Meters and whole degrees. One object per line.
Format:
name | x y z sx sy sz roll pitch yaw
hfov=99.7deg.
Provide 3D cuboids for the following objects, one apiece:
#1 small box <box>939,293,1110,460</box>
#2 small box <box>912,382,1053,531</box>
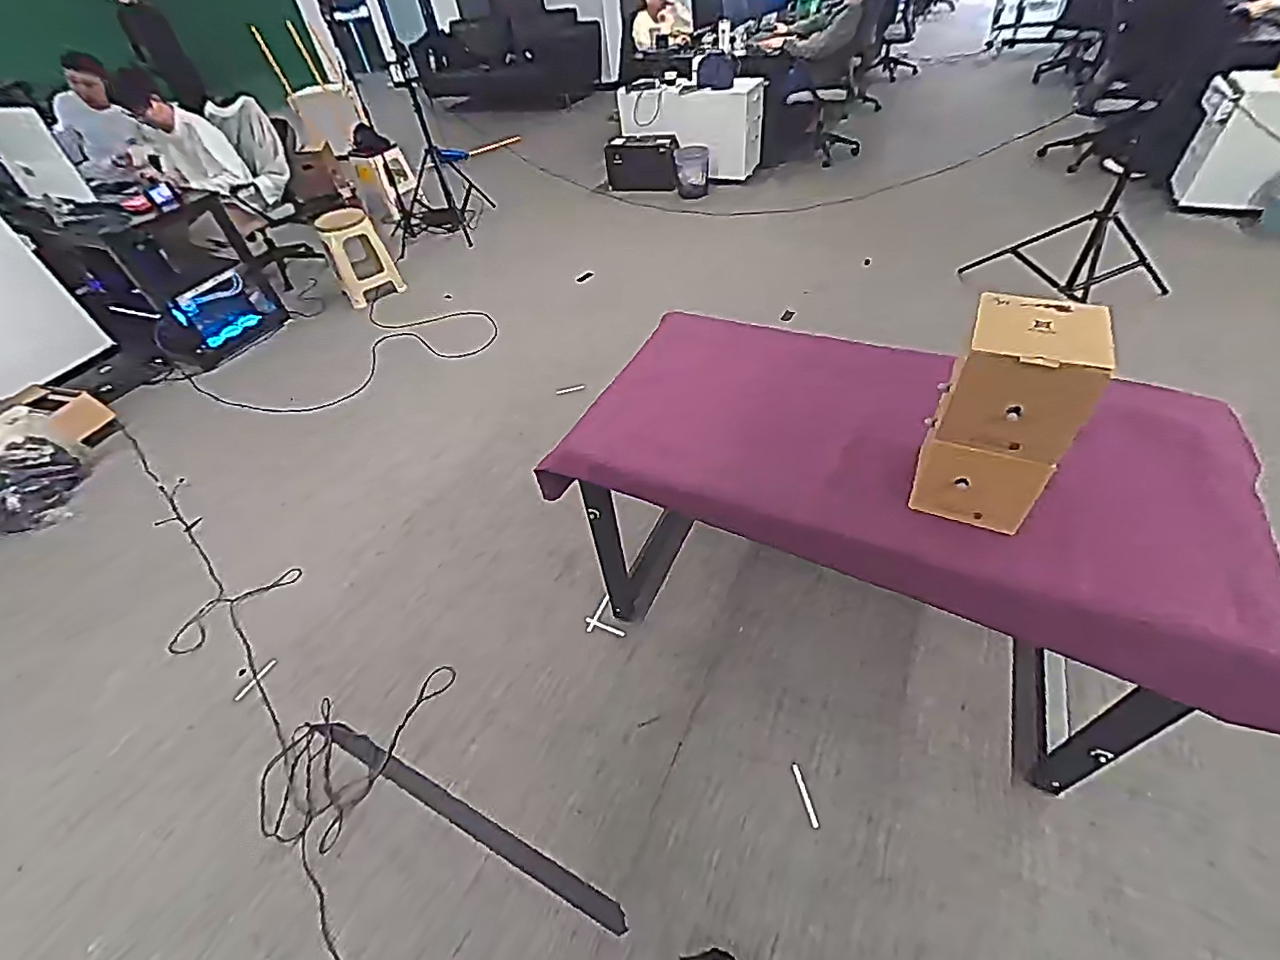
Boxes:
small box | 0.572 -0.156 0.819 0.168 0.176 0.179 17 51 23
small box | 0.585 -0.040 0.933 0.168 0.176 0.179 16 50 22
